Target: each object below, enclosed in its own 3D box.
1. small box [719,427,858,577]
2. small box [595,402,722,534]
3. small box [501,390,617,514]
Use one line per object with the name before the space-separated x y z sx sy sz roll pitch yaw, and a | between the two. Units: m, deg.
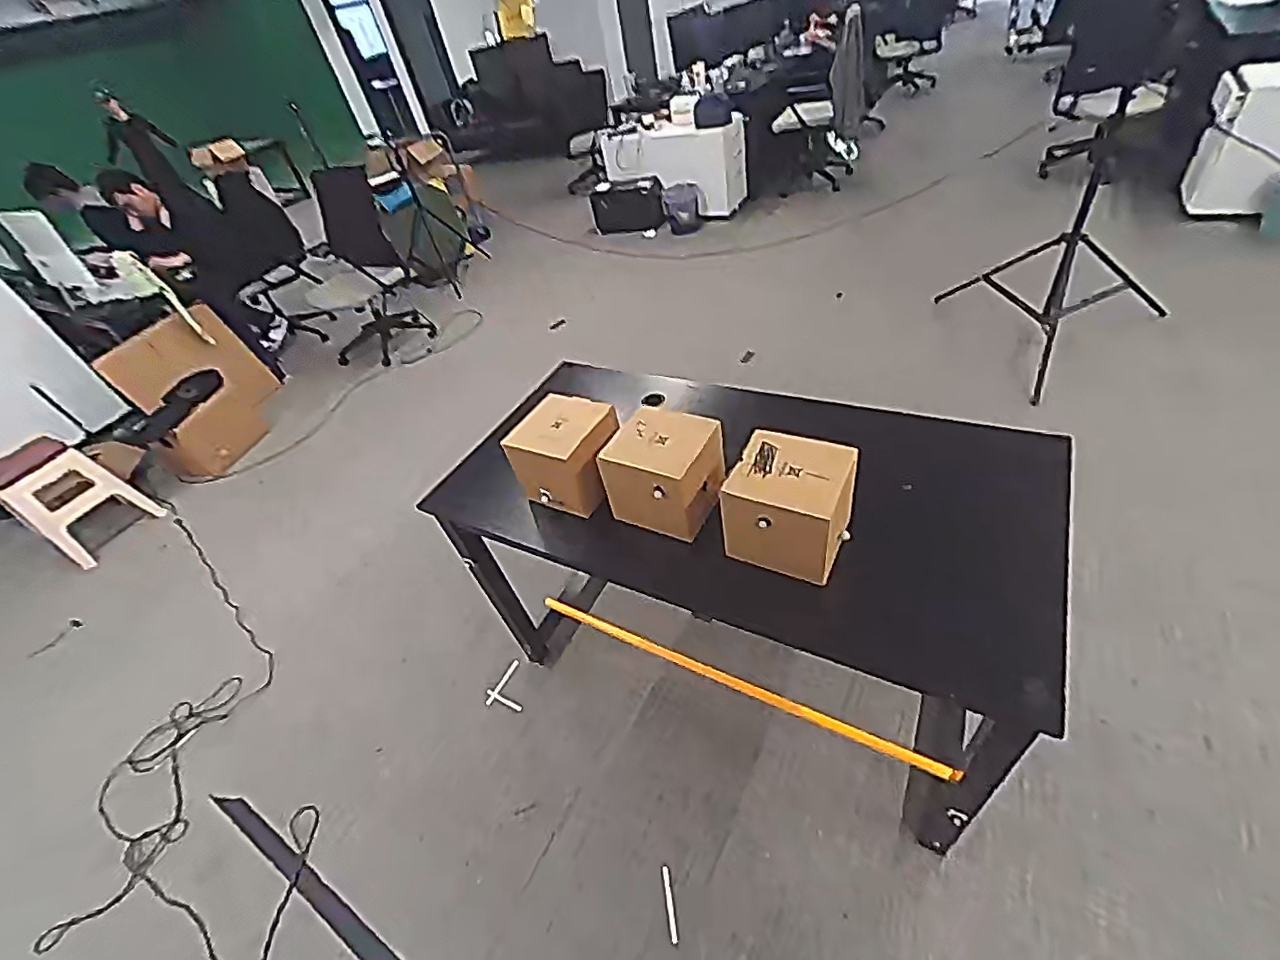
small box | 0.250 0.038 0.913 0.179 0.176 0.168 16 51 27
small box | 0.045 -0.021 1.026 0.179 0.176 0.168 15 50 28
small box | -0.150 -0.060 1.120 0.168 0.176 0.179 13 50 28
